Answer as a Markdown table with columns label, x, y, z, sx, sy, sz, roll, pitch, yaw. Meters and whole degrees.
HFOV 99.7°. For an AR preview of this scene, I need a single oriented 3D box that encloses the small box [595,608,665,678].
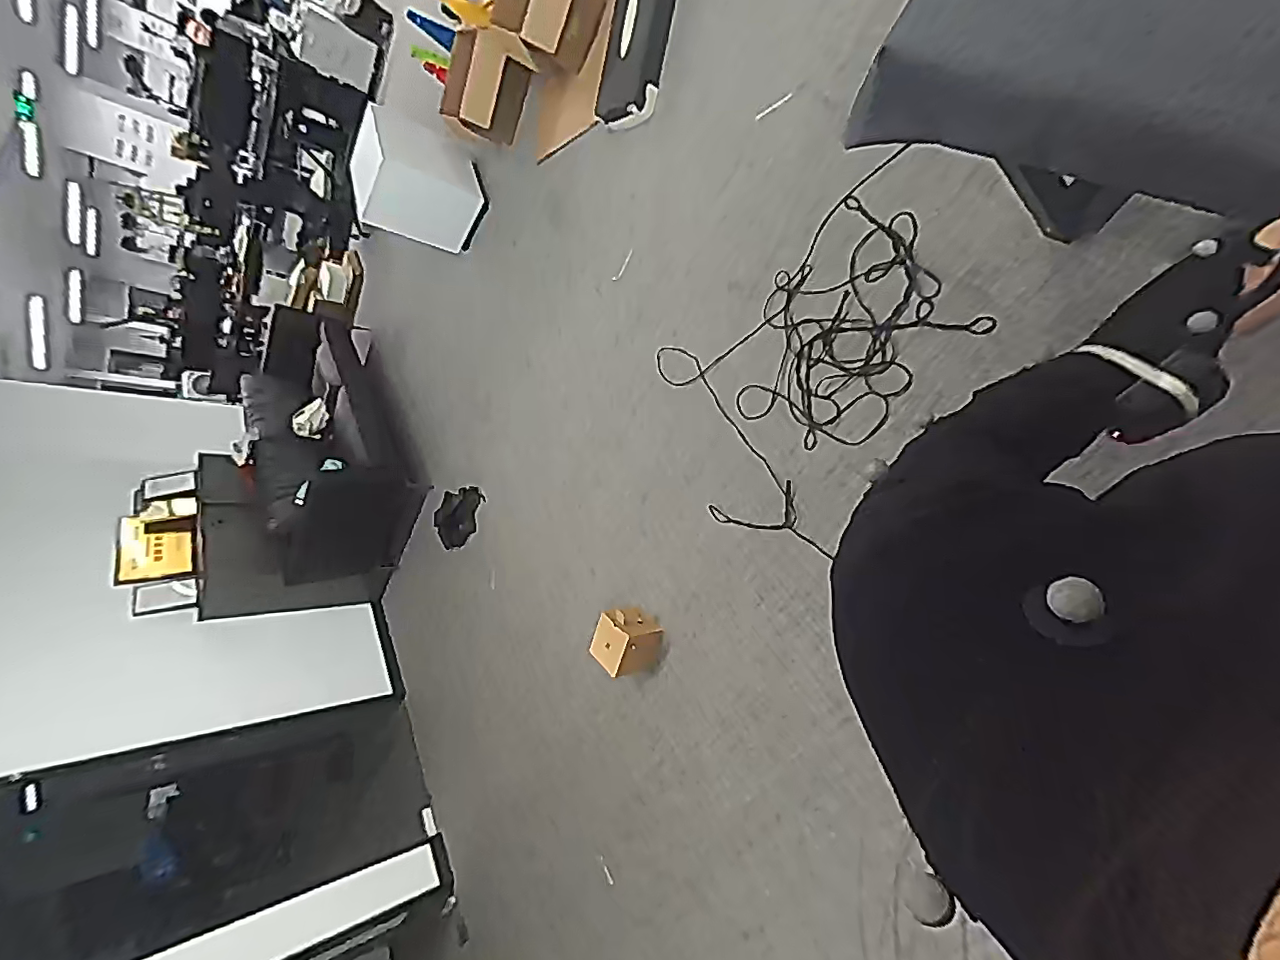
| label | x | y | z | sx | sy | sz | roll | pitch | yaw |
| --- | --- | --- | --- | --- | --- | --- | --- | --- | --- |
| small box | -0.034 | 0.589 | 1.971 | 0.168 | 0.176 | 0.179 | 32 | 109 | 44 |
